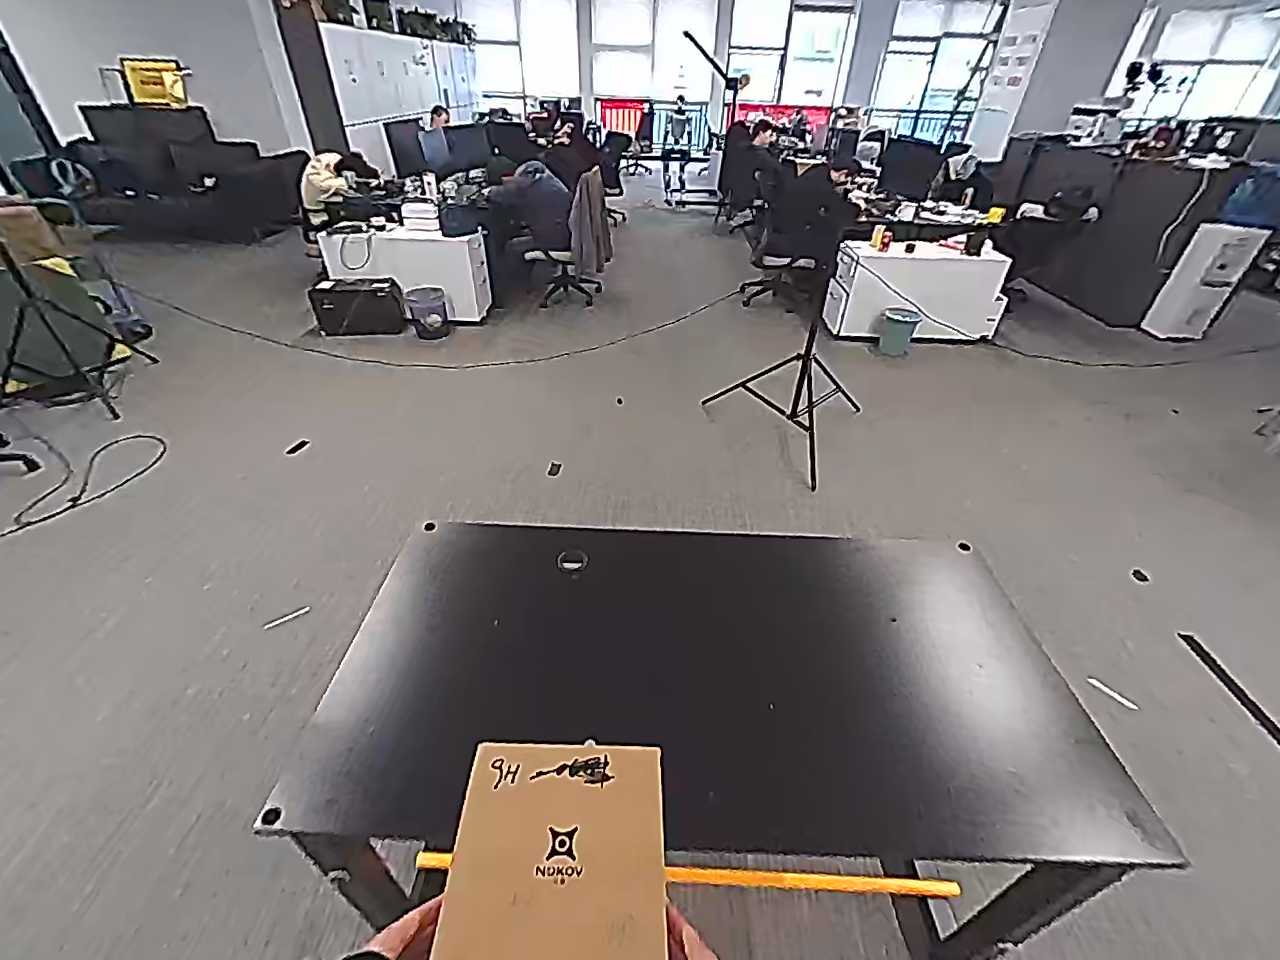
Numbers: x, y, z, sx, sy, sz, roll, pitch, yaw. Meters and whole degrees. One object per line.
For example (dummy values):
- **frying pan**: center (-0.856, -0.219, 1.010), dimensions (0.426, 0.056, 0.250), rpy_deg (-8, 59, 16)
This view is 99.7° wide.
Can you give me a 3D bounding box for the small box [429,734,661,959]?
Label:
- **small box**: center (-0.068, 0.351, 0.479), dimensions (0.168, 0.176, 0.179), rpy_deg (2, 39, -2)
